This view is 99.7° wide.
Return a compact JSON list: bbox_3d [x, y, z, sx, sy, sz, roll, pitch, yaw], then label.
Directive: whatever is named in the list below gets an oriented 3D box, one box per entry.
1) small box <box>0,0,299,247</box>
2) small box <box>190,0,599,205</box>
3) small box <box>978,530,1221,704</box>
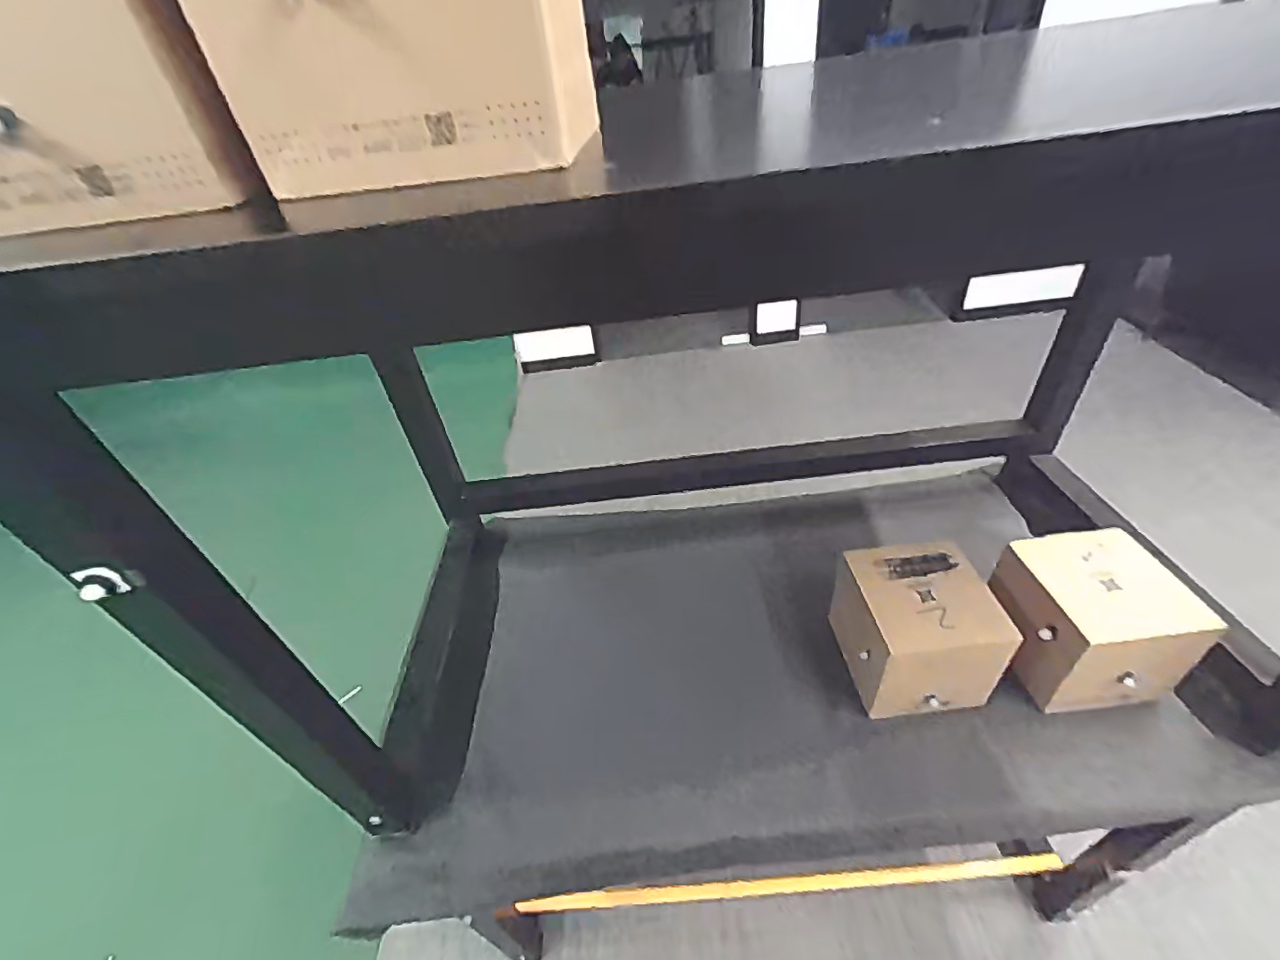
[{"bbox_3d":[-0.311,-0.248,0.312,0.168,0.176,0.179,-7,40,1],"label":"small box"},{"bbox_3d":[-0.121,-0.266,0.306,0.168,0.176,0.179,-4,39,5],"label":"small box"},{"bbox_3d":[0.622,0.198,0.764,0.168,0.176,0.179,-7,38,1],"label":"small box"}]
